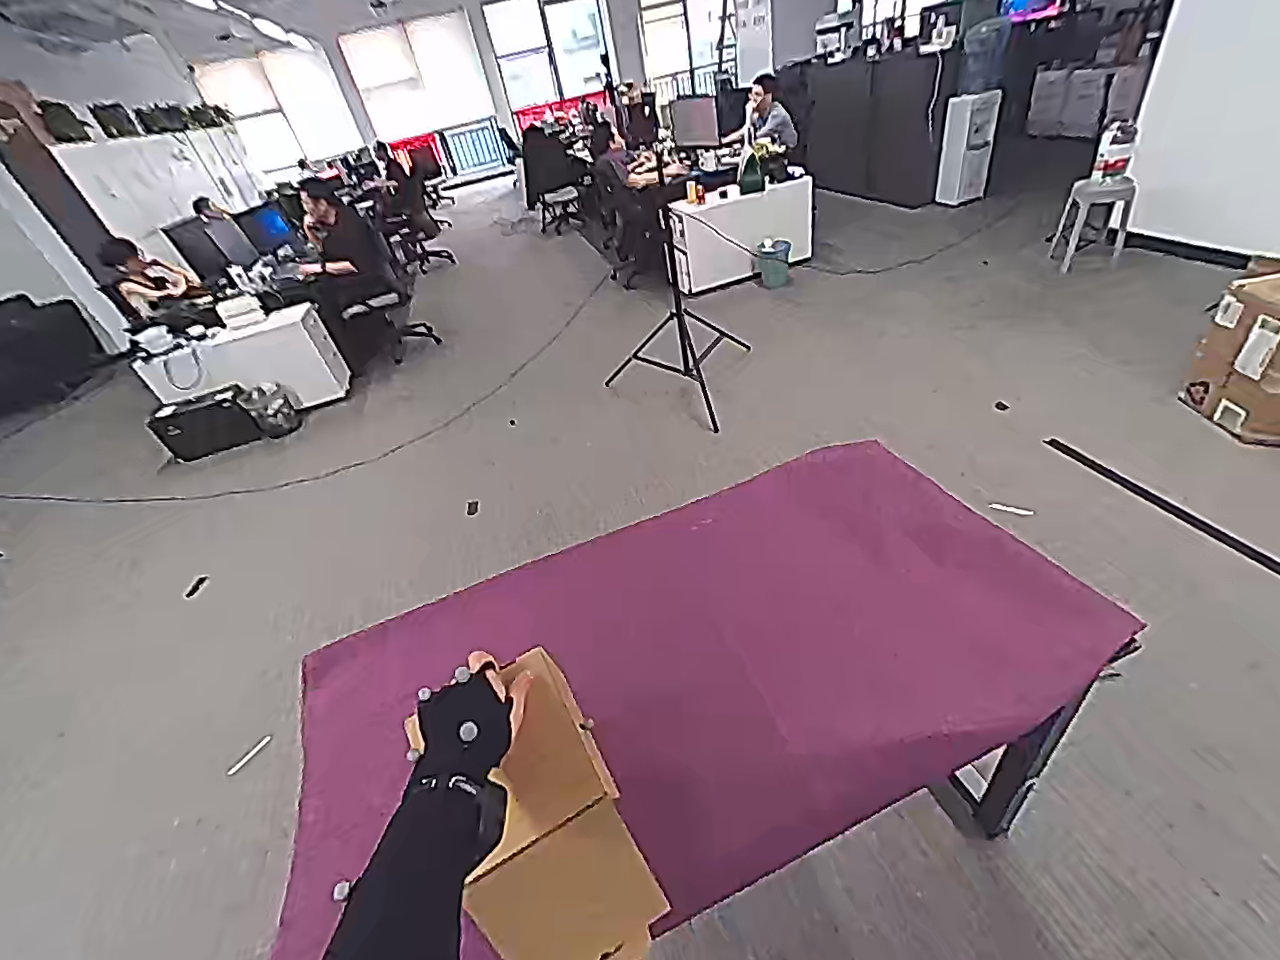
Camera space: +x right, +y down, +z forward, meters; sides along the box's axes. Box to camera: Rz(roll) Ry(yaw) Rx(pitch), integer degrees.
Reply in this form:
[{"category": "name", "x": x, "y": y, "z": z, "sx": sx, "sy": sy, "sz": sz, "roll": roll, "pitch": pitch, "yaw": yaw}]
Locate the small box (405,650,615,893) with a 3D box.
[{"category": "small box", "x": -0.141, "y": 0.333, "z": 0.634, "sx": 0.168, "sy": 0.176, "sz": 0.179, "roll": -27, "pitch": 61, "yaw": -13}]
